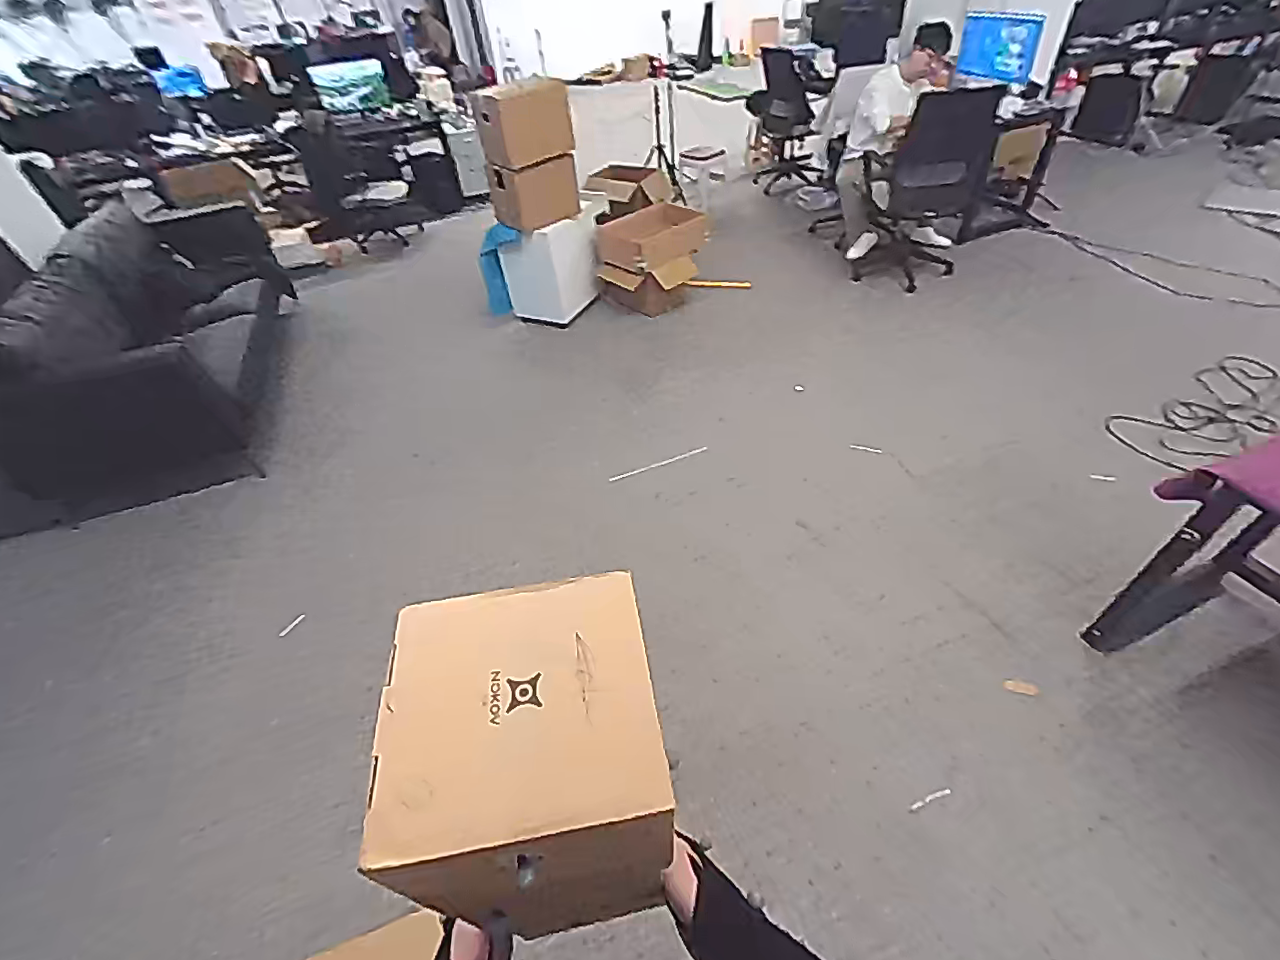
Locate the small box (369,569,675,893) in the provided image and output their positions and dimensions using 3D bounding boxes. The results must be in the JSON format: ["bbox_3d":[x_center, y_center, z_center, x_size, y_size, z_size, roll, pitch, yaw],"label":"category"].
[{"bbox_3d":[-0.072,0.194,0.416,0.179,0.176,0.168,-8,46,-4],"label":"small box"}]

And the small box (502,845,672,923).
[{"bbox_3d":[-0.061,0.413,0.660,0.179,0.176,0.168,-9,45,-6],"label":"small box"}]
